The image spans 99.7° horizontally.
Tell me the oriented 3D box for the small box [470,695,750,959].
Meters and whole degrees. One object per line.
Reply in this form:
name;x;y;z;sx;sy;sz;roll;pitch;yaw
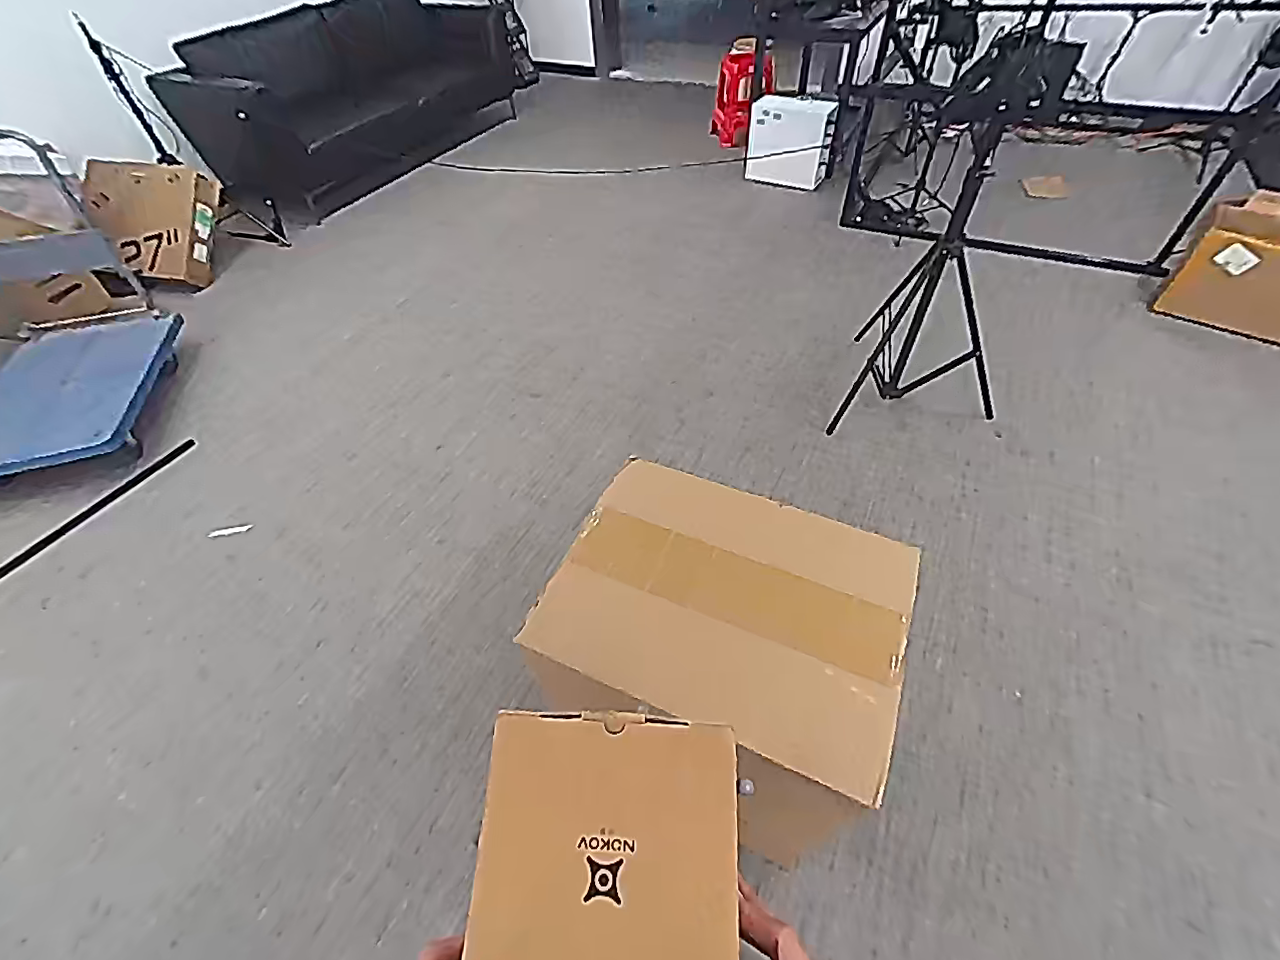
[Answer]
small box;-0.009;0.264;0.405;0.168;0.176;0.179;1;64;4
